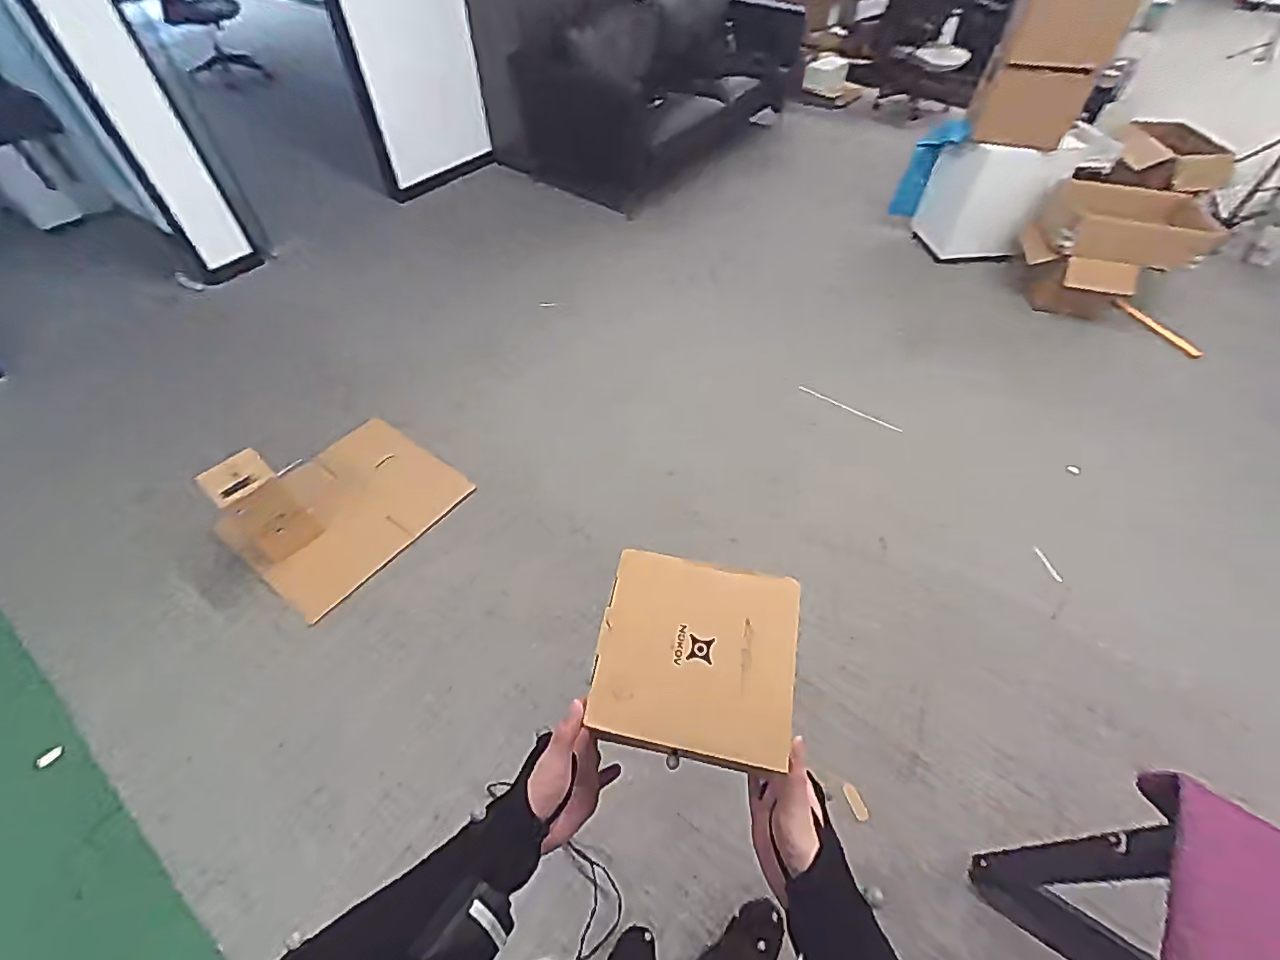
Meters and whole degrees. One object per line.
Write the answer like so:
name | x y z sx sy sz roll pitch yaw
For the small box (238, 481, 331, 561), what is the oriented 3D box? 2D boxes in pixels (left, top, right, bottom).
small box | -1.196 0.143 1.830 0.168 0.176 0.179 35 59 24

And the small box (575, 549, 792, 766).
small box | 0.048 0.189 0.558 0.179 0.176 0.168 9 62 8
